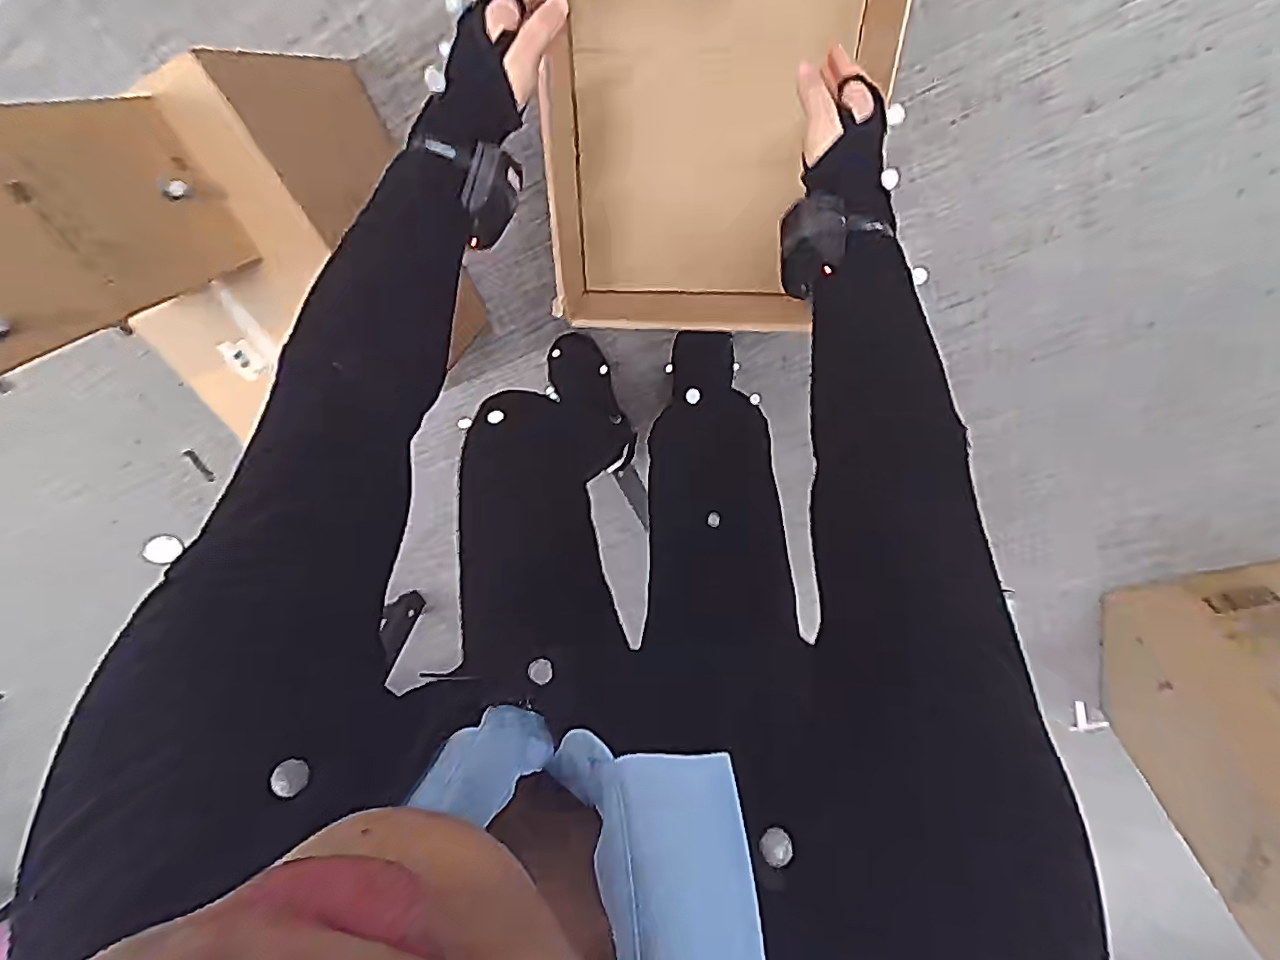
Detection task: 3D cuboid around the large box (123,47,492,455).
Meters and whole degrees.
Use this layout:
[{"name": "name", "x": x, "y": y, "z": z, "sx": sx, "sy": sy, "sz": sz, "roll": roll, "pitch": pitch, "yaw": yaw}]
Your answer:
[{"name": "large box", "x": -0.484, "y": -0.315, "z": 0.782, "sx": 0.320, "sy": 0.320, "sz": 0.408, "roll": -16, "pitch": 124, "yaw": 17}]

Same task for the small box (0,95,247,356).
[{"name": "small box", "x": -0.549, "y": -0.250, "z": 0.530, "sx": 0.179, "sy": 0.176, "sz": 0.168, "roll": -14, "pitch": 125, "yaw": 15}]
